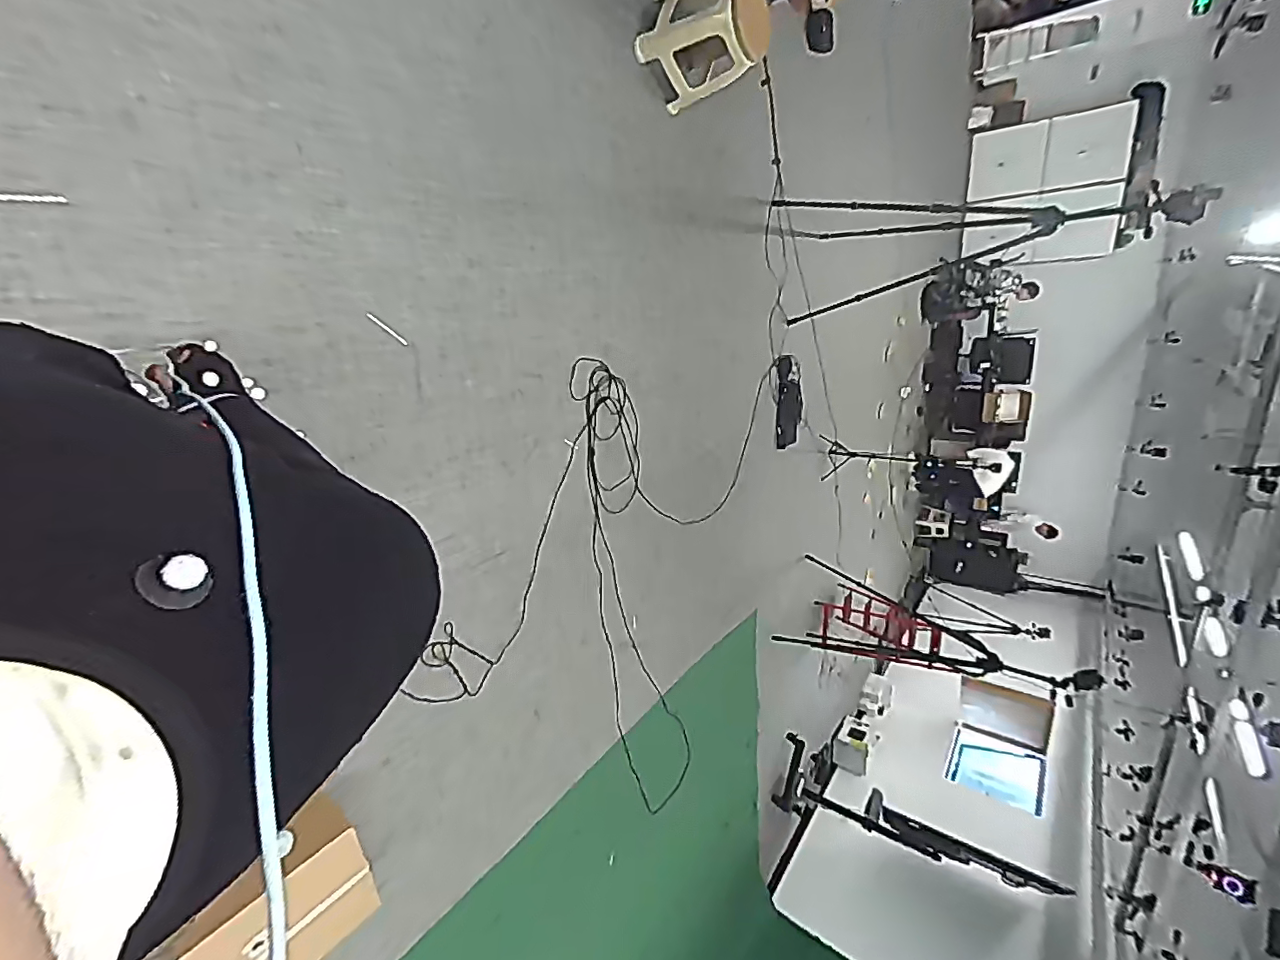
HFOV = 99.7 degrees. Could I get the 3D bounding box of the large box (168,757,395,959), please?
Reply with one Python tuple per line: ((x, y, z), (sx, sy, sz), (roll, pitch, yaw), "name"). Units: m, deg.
((-0.971, 1.077, 1.493), (0.408, 0.320, 0.320), (-27, 117, -45), "large box")
